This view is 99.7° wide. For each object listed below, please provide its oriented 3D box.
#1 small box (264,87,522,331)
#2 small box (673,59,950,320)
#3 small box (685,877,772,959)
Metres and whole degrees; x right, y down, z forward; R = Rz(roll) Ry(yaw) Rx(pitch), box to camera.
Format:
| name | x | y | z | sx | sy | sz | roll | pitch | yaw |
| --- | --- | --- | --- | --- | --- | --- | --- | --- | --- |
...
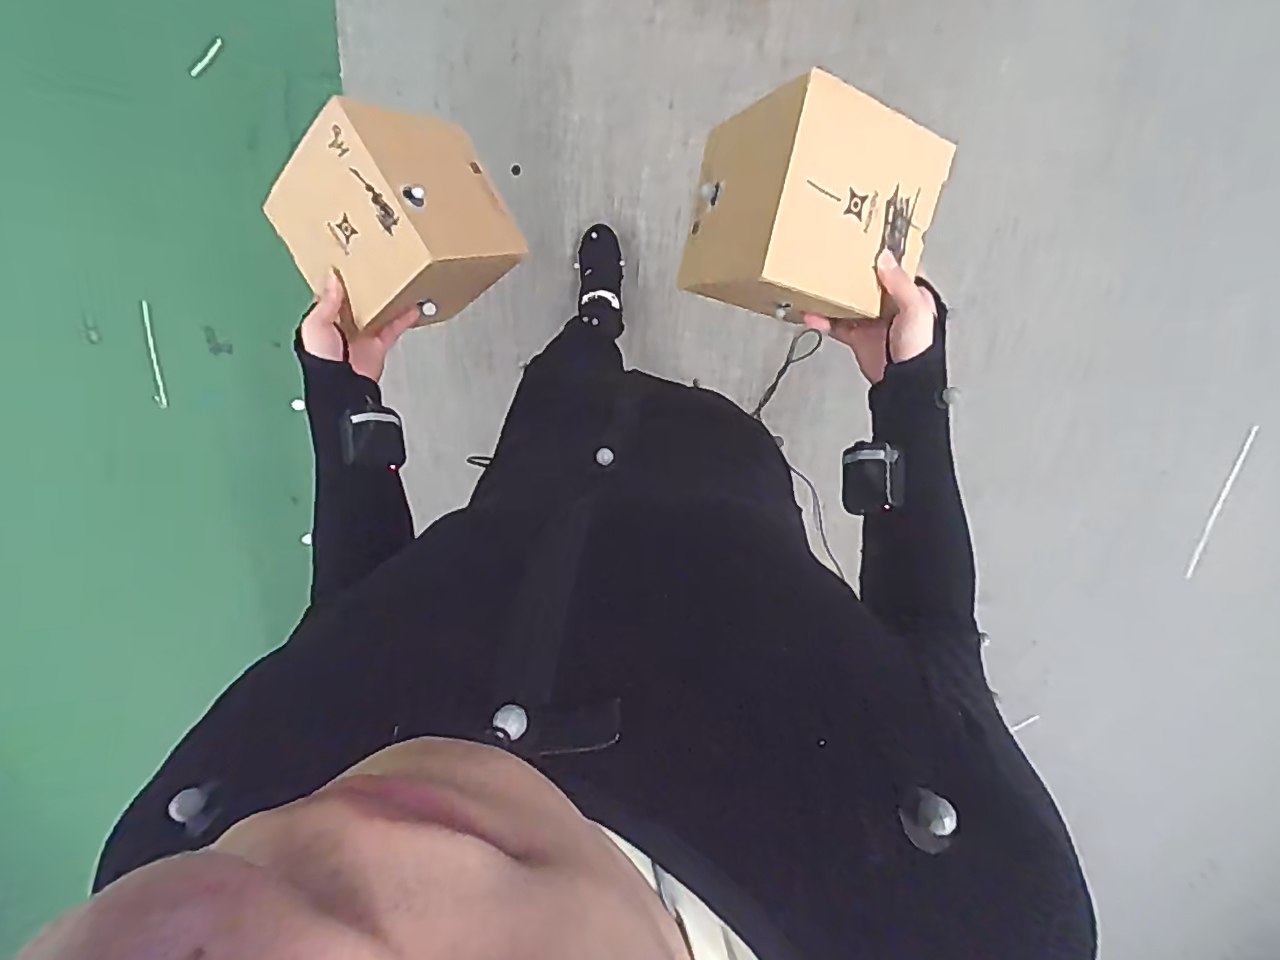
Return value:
| name | x | y | z | sx | sy | sz | roll | pitch | yaw |
| --- | --- | --- | --- | --- | --- | --- | --- | --- | --- |
| small box | -0.271 | -0.293 | 0.617 | 0.179 | 0.176 | 0.168 | -22 | 101 | 33 |
| small box | 0.159 | -0.266 | 0.545 | 0.179 | 0.176 | 0.168 | 8 | 101 | -24 |
| small box | 0.177 | 0.967 | 1.113 | 0.168 | 0.176 | 0.179 | 1 | 109 | 4 |
